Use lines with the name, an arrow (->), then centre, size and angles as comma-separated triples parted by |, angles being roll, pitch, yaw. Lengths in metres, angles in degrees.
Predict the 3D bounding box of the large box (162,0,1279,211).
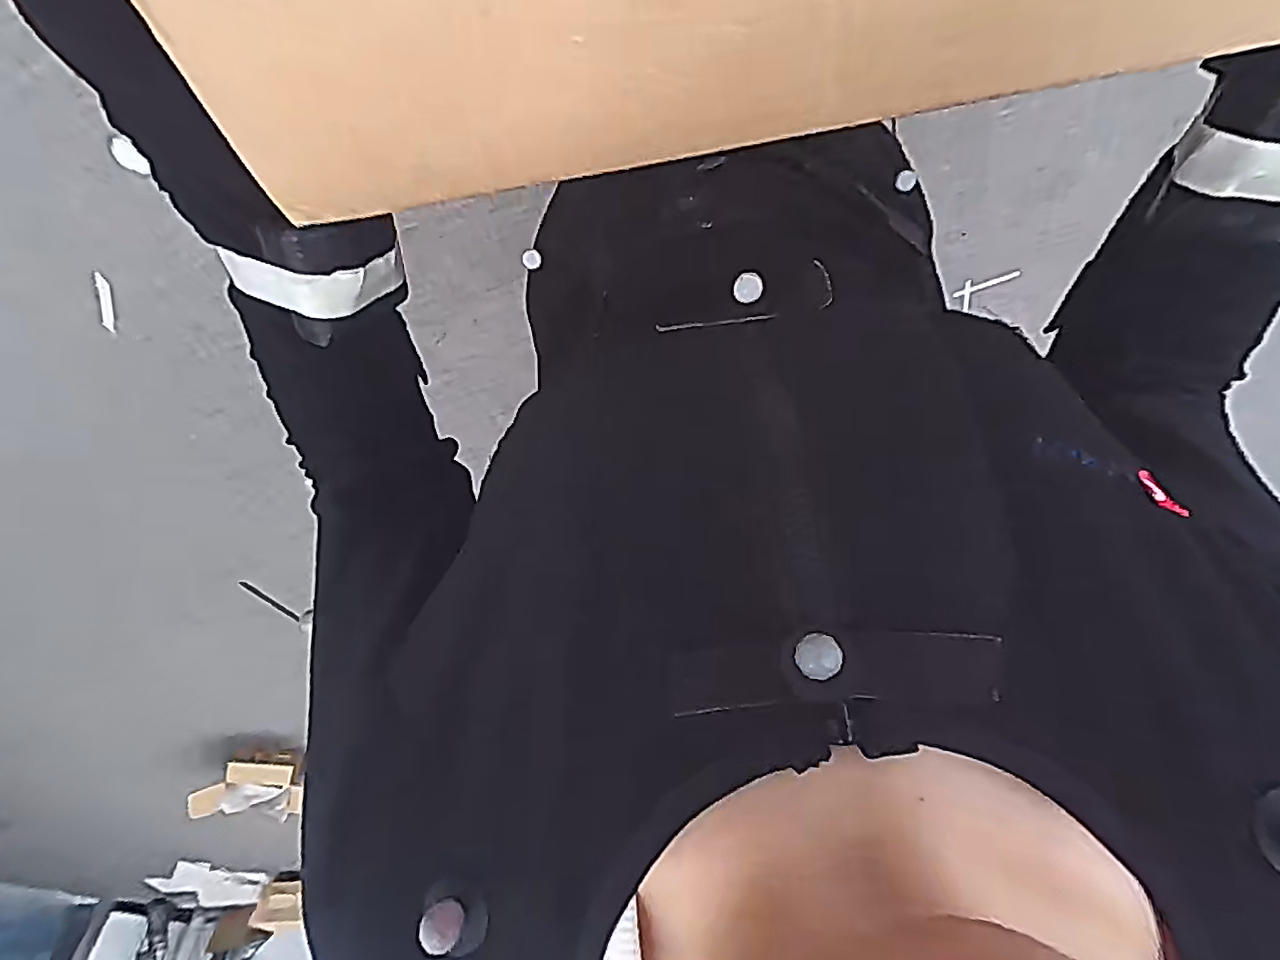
large box -> 0.025, -0.347, 0.171 | 0.408, 0.320, 0.320 | -8, 144, 5
